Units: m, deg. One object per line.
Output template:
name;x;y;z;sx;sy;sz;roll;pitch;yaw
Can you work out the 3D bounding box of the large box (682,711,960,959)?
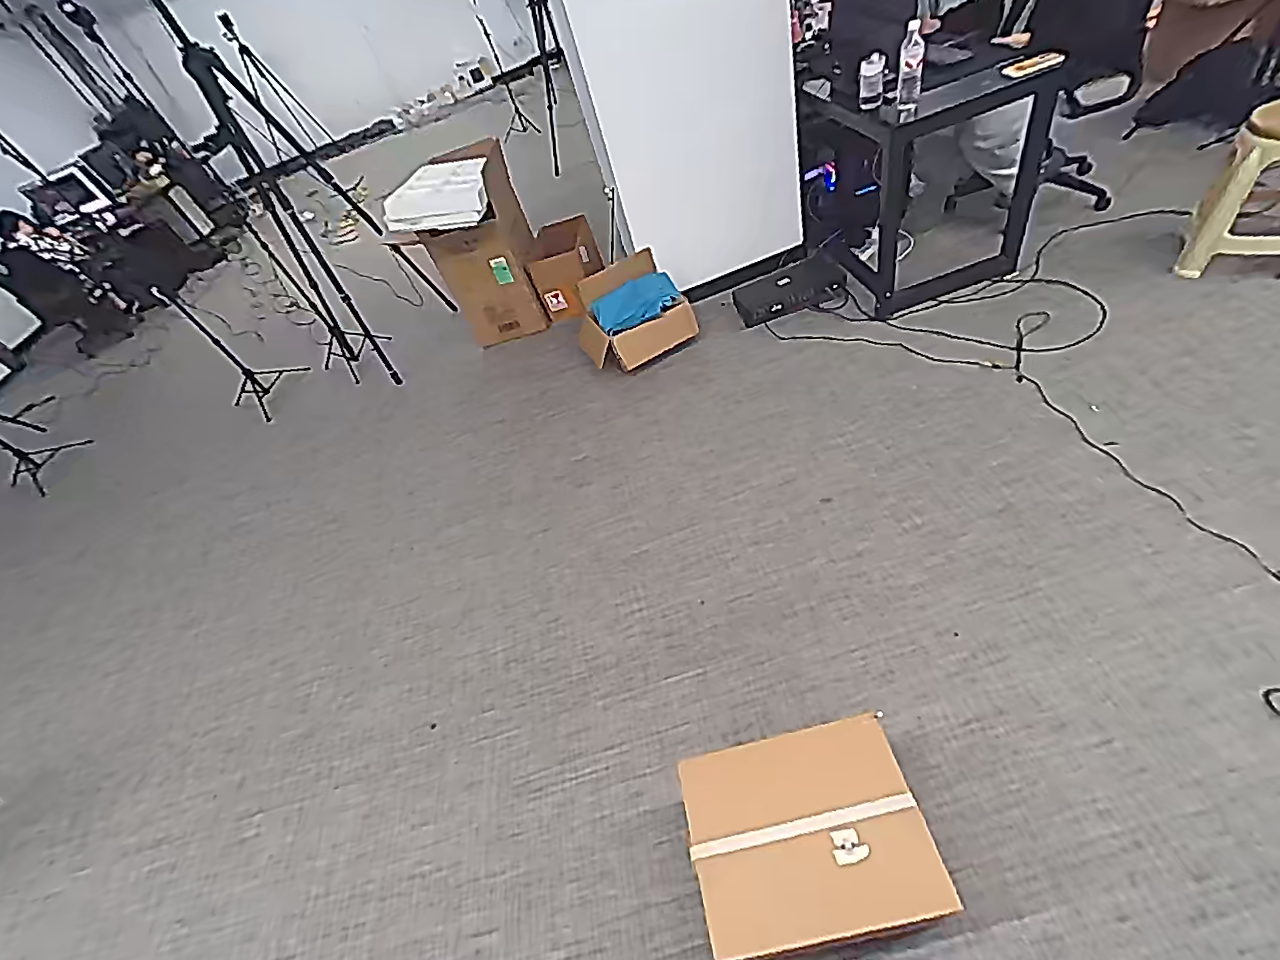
large box;0.333;0.716;1.075;0.408;0.320;0.320;-17;46;5
